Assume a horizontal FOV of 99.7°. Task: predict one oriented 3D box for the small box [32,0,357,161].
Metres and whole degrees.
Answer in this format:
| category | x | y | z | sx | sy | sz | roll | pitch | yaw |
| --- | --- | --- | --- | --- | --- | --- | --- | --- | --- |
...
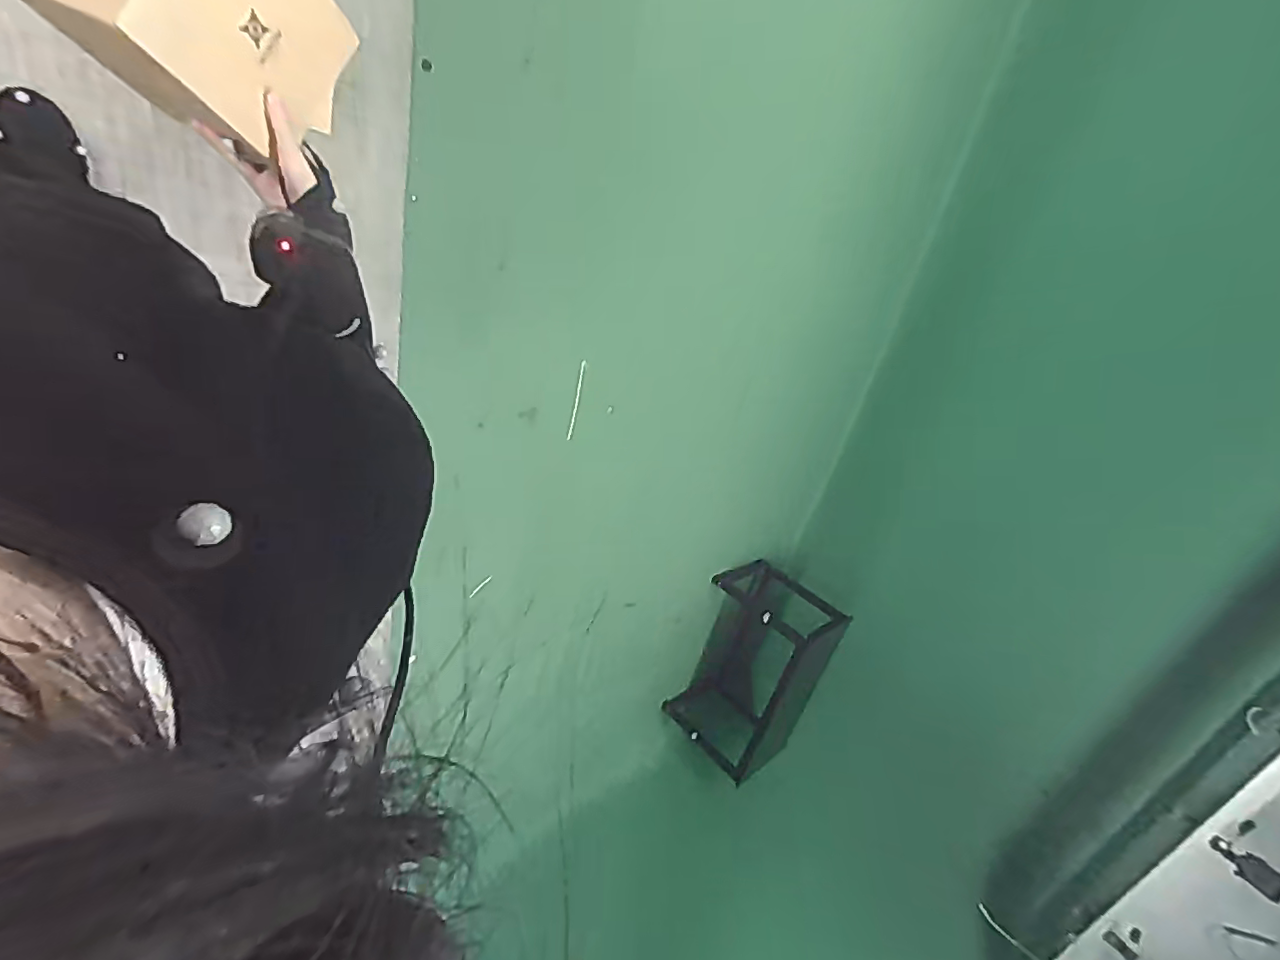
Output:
| category | x | y | z | sx | sy | sz | roll | pitch | yaw |
| --- | --- | --- | --- | --- | --- | --- | --- | --- | --- |
| small box | -0.408 | -0.441 | 0.483 | 0.168 | 0.176 | 0.179 | -62 | 176 | -1 |
